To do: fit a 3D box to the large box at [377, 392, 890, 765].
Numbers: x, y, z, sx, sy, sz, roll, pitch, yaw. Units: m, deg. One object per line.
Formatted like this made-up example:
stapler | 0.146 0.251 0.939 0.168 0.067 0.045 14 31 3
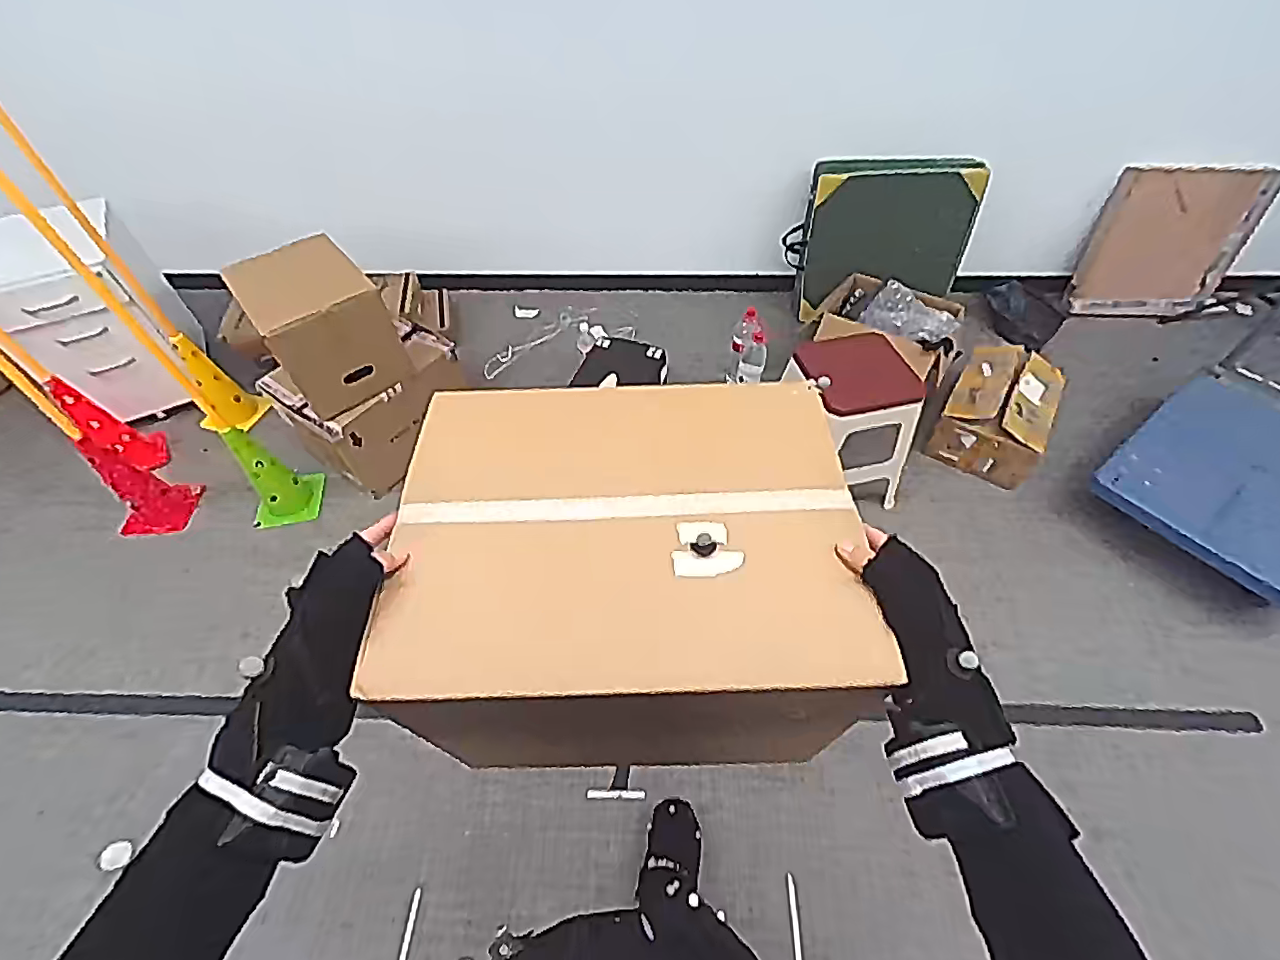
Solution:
large box | -0.007 0.121 0.618 0.408 0.320 0.320 -1 53 0
